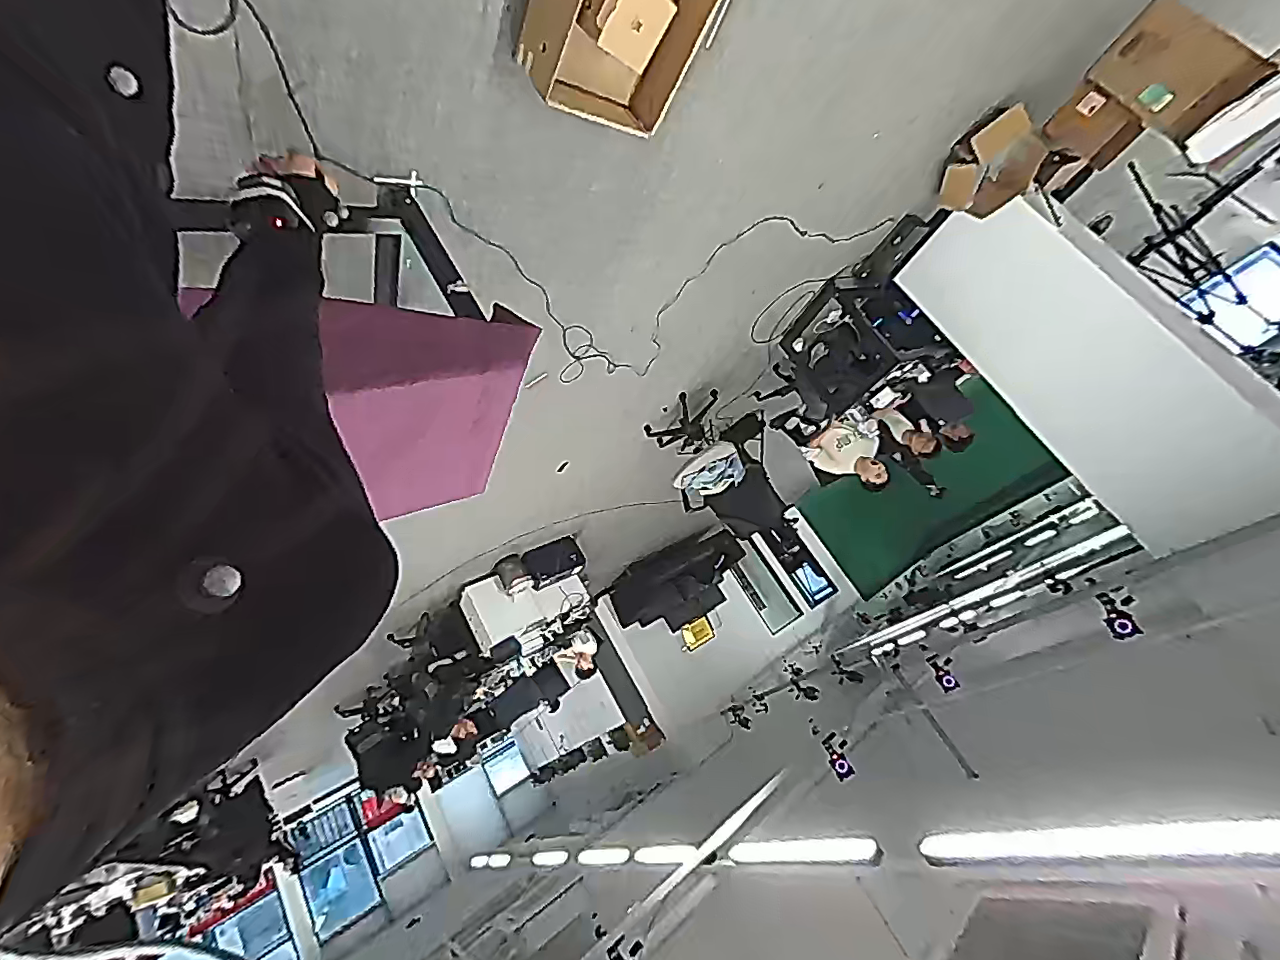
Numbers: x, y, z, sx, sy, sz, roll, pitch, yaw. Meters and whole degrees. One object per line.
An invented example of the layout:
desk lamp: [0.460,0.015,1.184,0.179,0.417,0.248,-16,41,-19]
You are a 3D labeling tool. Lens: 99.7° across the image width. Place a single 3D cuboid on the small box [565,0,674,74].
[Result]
small box: [-0.056,-1.174,1.343,0.179,0.176,0.168,-11,152,-49]
